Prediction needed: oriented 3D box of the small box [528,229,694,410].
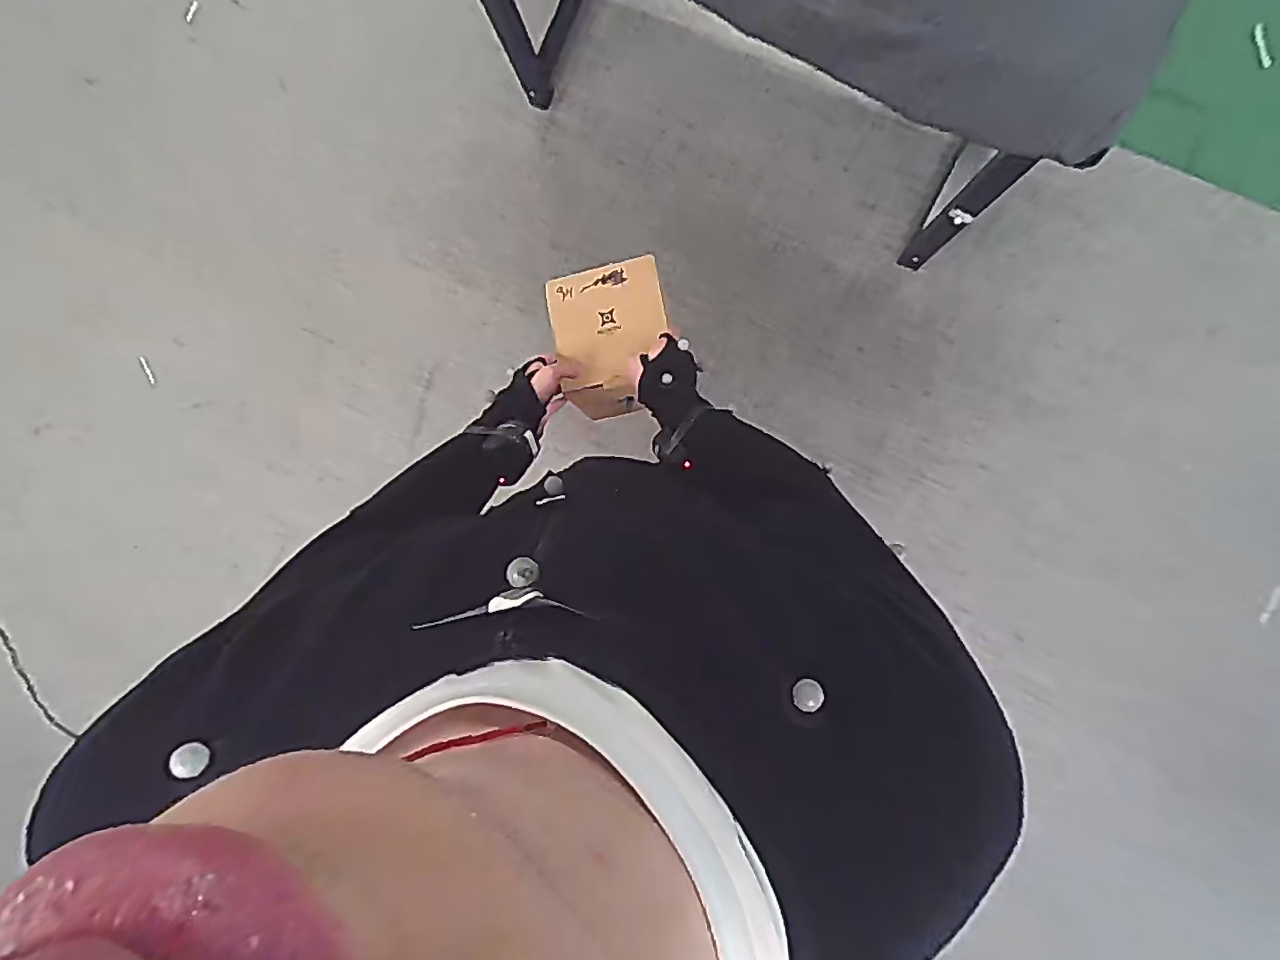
[{"bbox_3d":[-0.033,-0.234,0.837,0.179,0.176,0.168,-41,77,4],"label":"small box"}]
